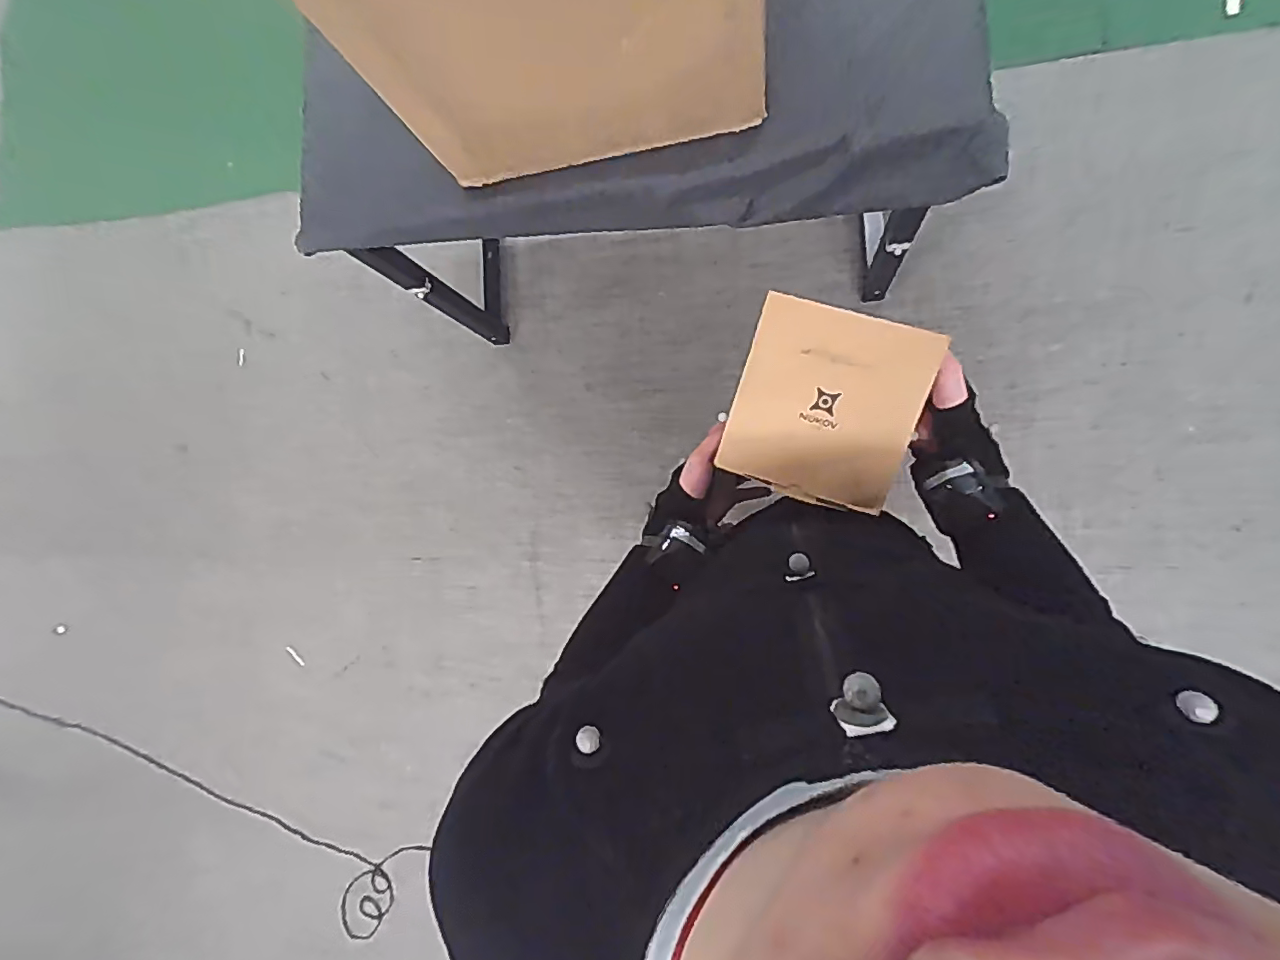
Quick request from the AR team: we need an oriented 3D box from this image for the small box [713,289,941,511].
[{"bbox_3d":[0.189,-0.088,0.587,0.168,0.176,0.179,17,103,9],"label":"small box"}]
